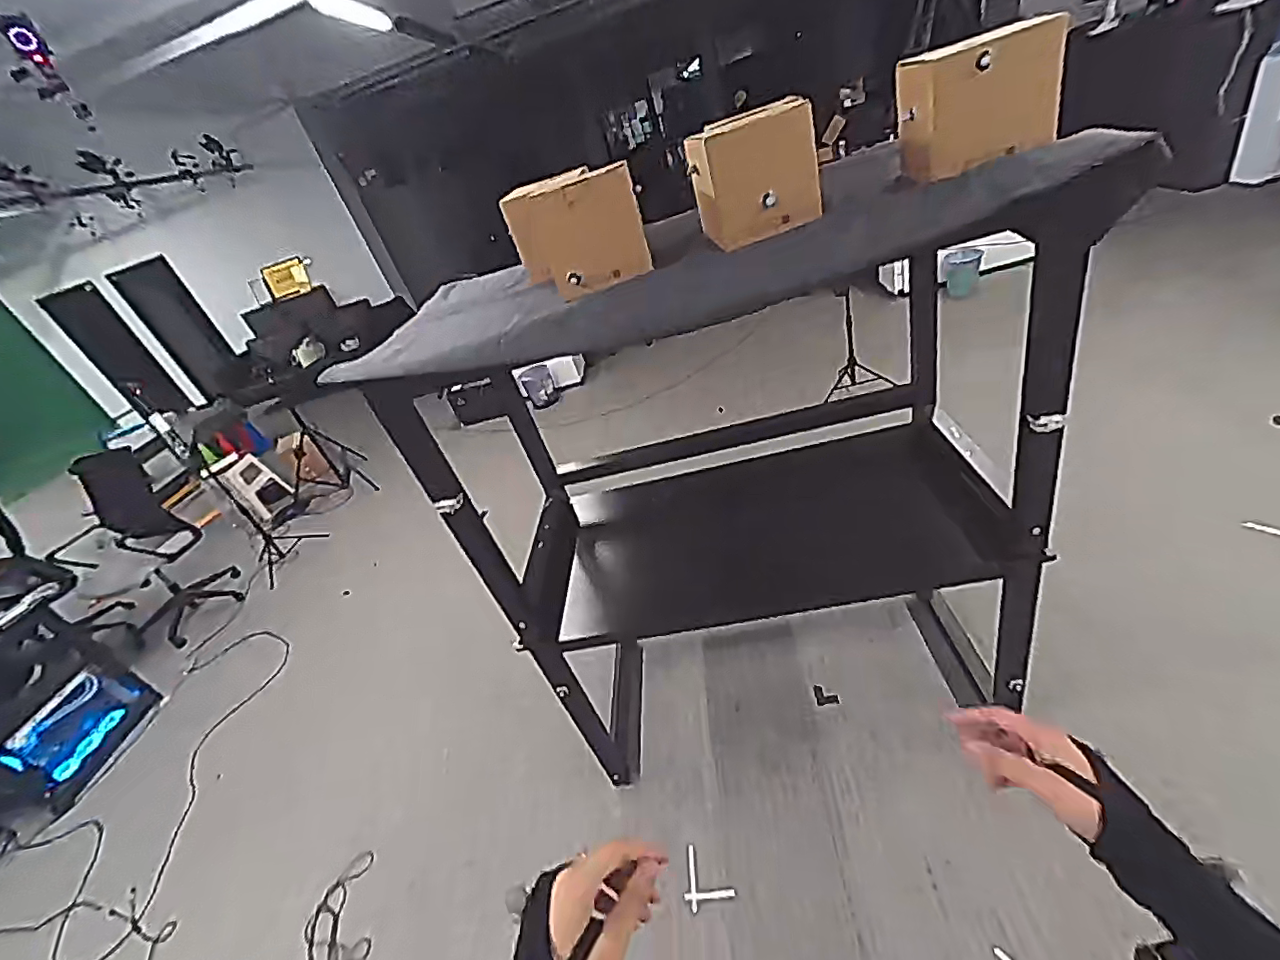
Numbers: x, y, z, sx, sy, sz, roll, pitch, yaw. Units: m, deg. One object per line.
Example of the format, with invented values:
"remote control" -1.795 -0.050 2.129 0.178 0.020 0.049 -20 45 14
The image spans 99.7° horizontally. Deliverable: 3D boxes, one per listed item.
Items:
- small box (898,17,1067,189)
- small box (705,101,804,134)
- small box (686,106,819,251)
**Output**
"small box" 0.507 -0.563 0.828 0.168 0.176 0.179 -12 32 14
"small box" 0.233 -0.632 1.081 0.179 0.176 0.168 -12 32 12
"small box" 0.186 -0.502 0.910 0.168 0.176 0.179 -18 33 4
